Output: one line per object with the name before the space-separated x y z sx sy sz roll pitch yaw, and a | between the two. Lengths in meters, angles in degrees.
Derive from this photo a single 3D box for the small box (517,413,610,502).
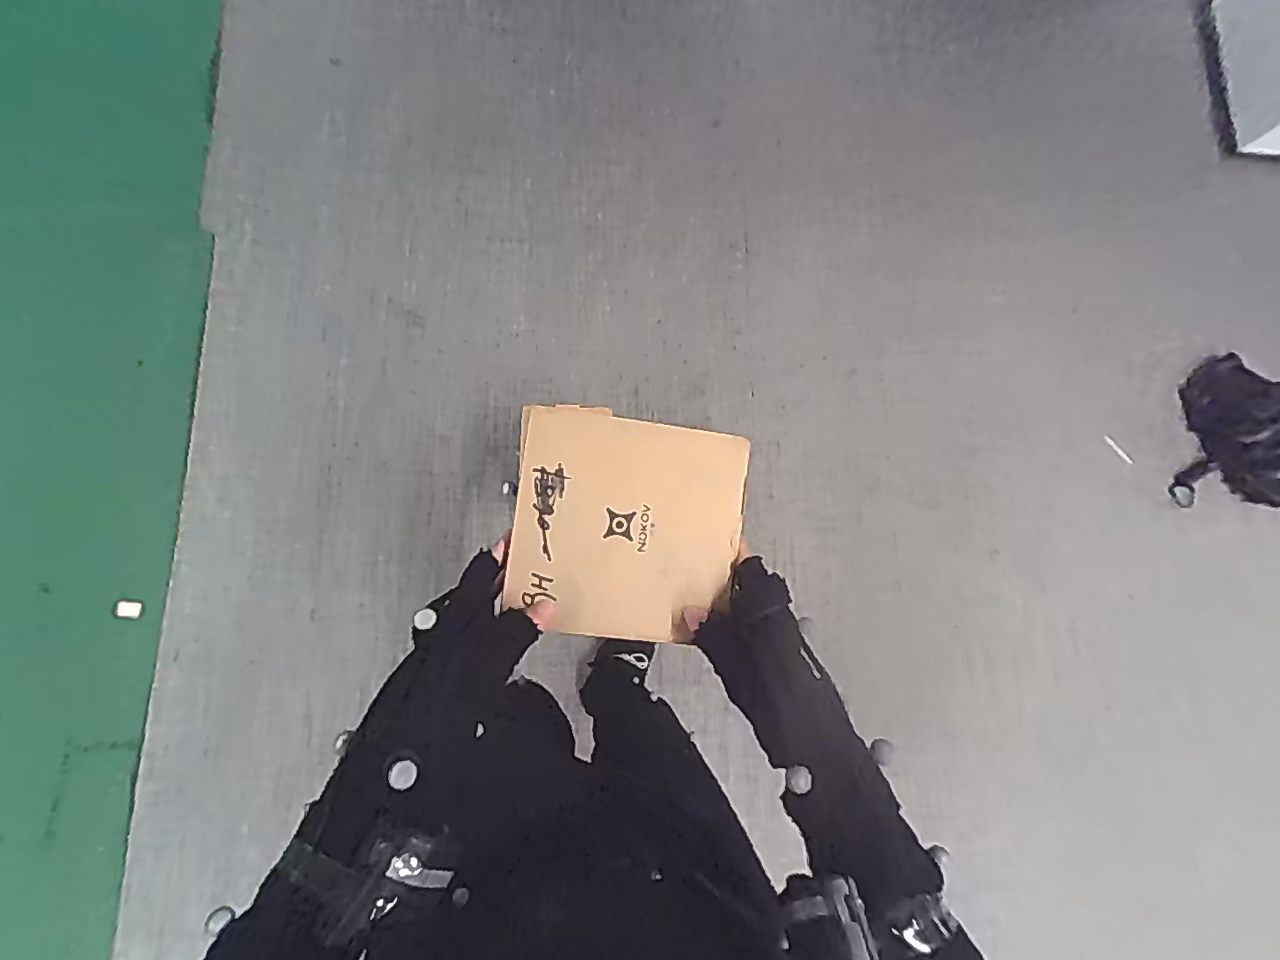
small box | -0.143 -0.023 1.061 0.168 0.176 0.179 0 81 -3

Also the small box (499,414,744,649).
small box | -0.023 0.048 0.497 0.179 0.176 0.168 8 83 -9
